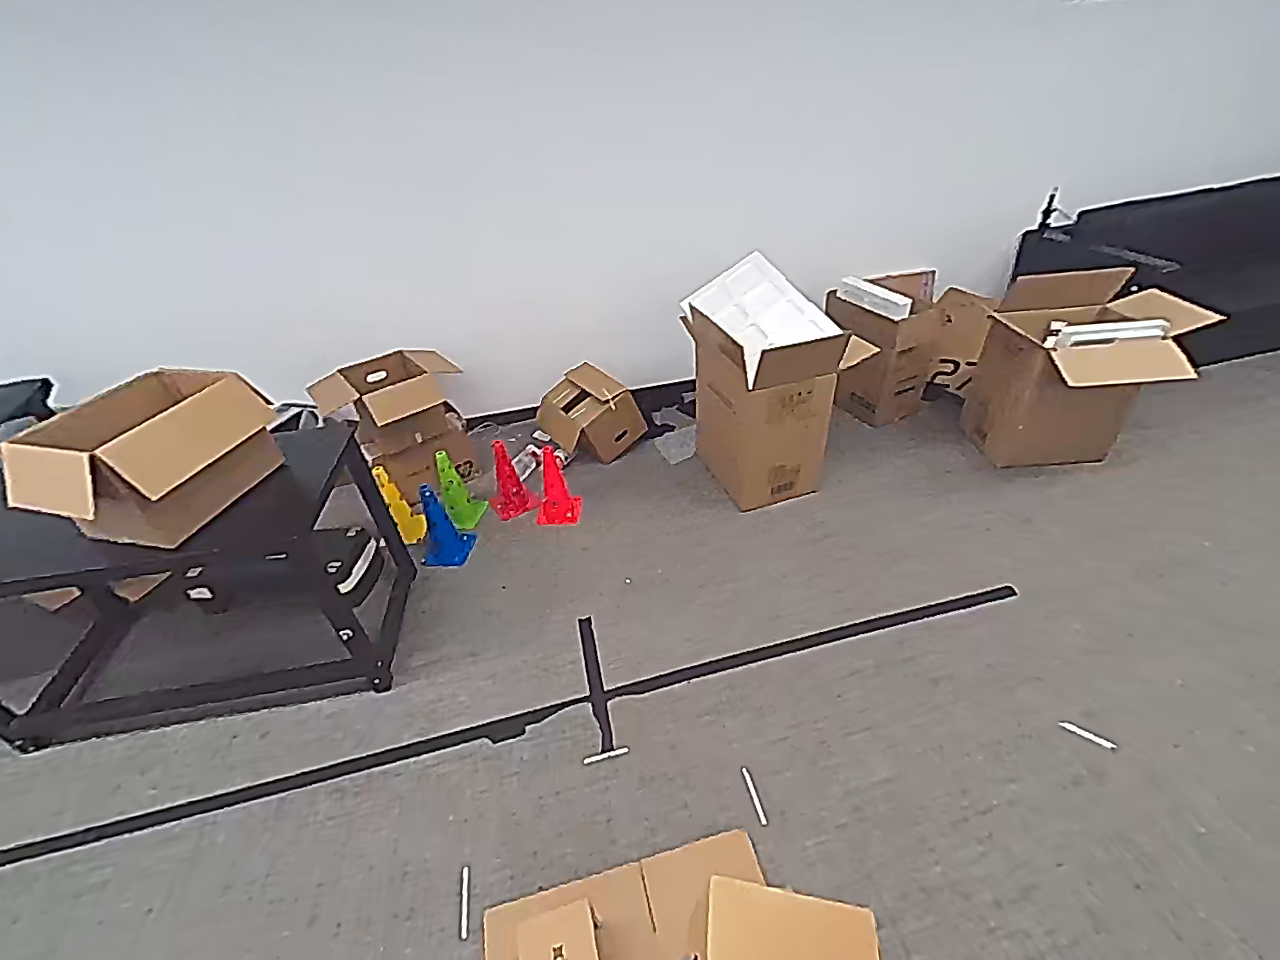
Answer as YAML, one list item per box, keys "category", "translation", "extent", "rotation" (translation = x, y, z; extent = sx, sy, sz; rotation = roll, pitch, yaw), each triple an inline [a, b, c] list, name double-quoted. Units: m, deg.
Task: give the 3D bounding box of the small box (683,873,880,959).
- category: "small box"
  translation: [0.134, 0.538, 0.546]
  extent: [0.179, 0.176, 0.168]
  rotation: [11, 37, 2]

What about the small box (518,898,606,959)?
- category: "small box"
  translation: [-0.163, 1.066, 1.179]
  extent: [0.168, 0.176, 0.179]
  rotation: [-13, 38, -9]
